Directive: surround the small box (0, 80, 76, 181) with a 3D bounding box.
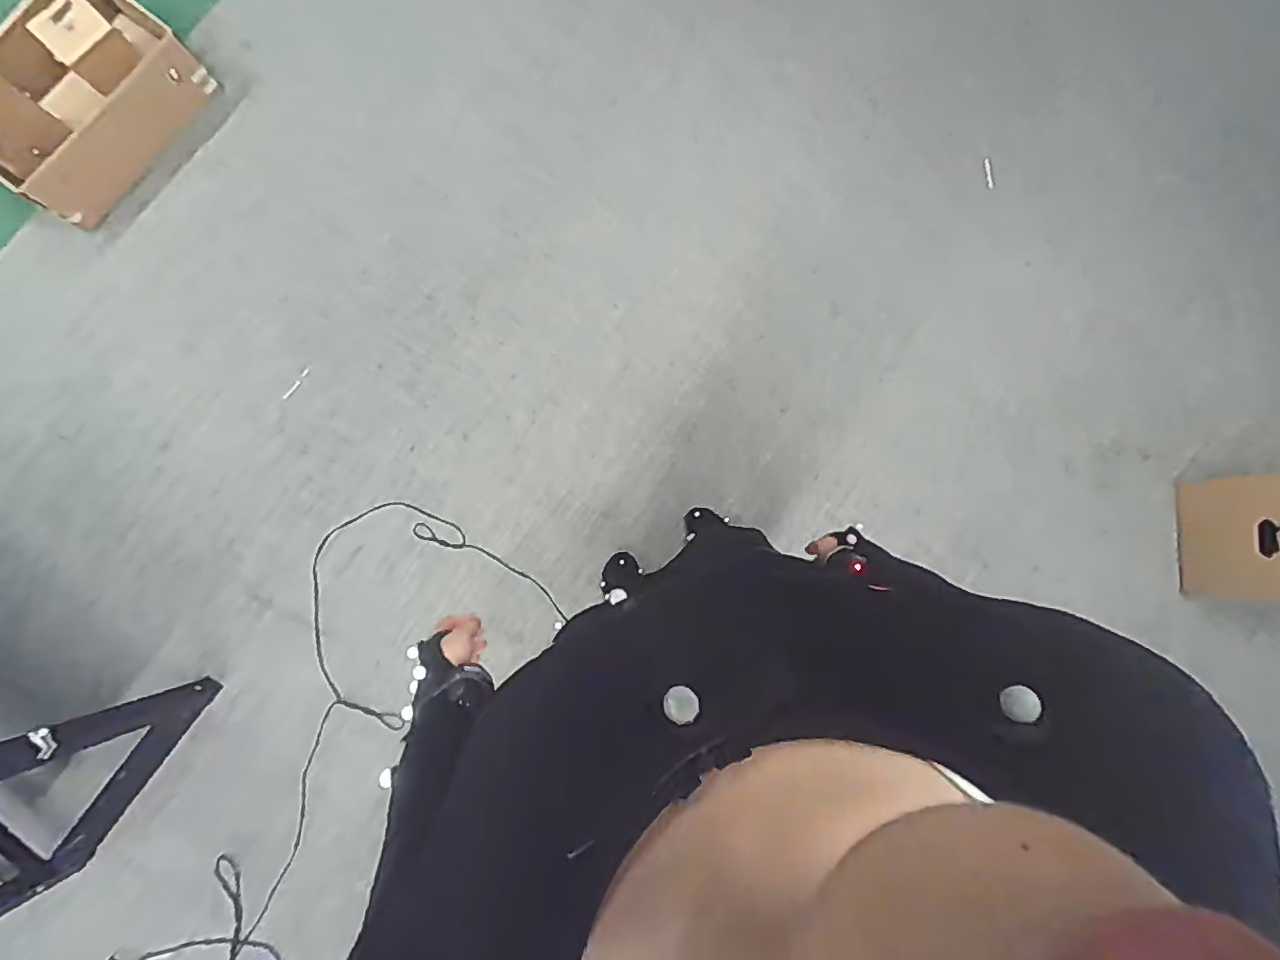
[{"bbox_3d":[-1.743,-0.975,1.490,0.168,0.176,0.179,38,85,3],"label":"small box"}]

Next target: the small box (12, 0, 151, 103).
[{"bbox_3d":[-1.559,-1.223,1.520,0.179,0.176,0.168,44,86,2],"label":"small box"}]
